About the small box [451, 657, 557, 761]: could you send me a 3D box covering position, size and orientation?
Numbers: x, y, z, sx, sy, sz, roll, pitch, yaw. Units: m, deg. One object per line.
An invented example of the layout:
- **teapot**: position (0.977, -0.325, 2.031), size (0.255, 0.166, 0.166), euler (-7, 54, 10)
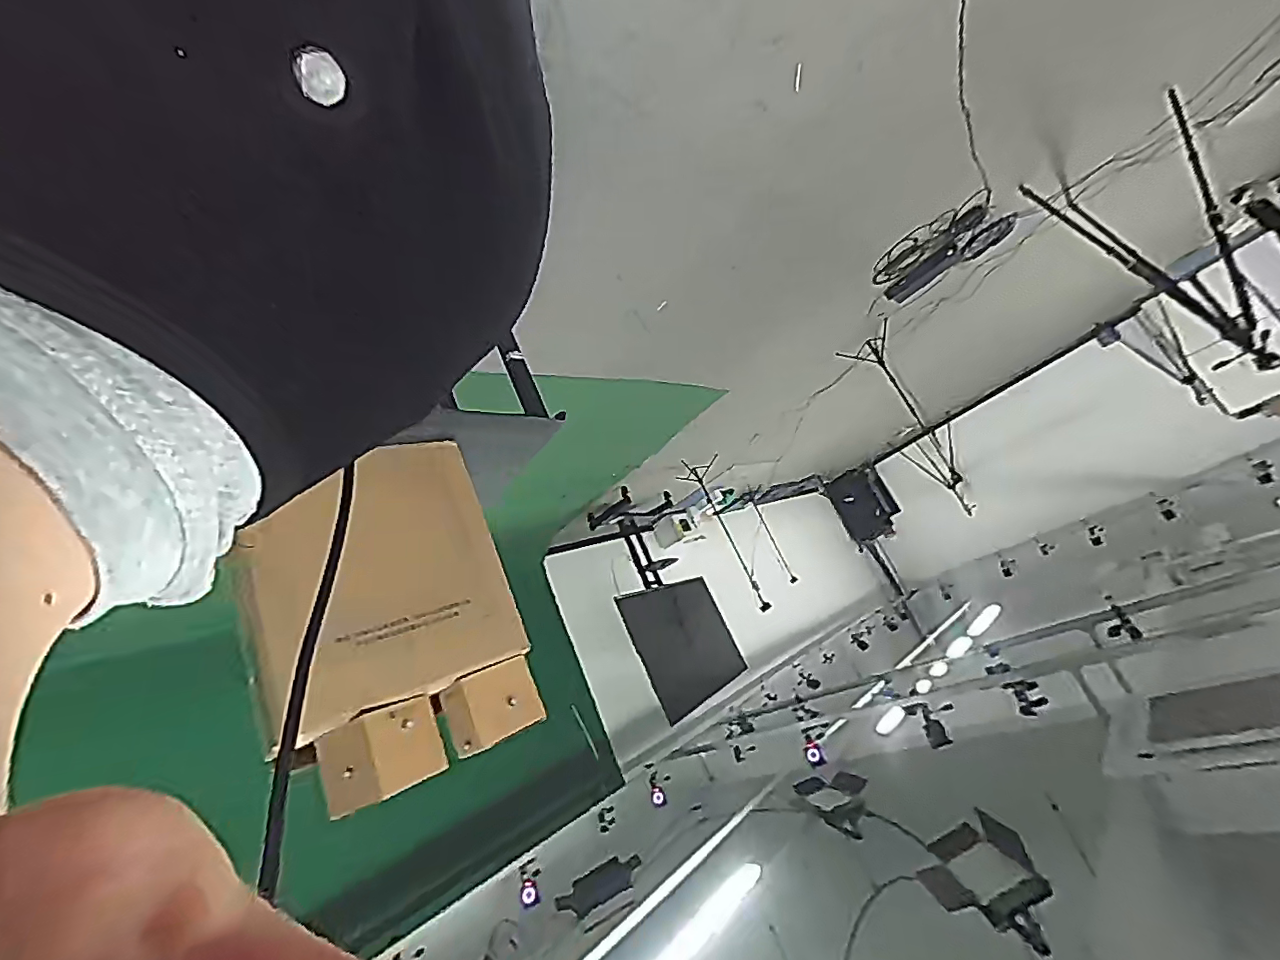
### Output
- **small box**: position (-0.343, 0.566, 1.352), size (0.179, 0.176, 0.168), euler (-13, 158, -43)

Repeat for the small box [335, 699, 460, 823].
- **small box**: position (-0.532, 0.601, 1.176), size (0.179, 0.176, 0.168), euler (-33, 161, 21)
